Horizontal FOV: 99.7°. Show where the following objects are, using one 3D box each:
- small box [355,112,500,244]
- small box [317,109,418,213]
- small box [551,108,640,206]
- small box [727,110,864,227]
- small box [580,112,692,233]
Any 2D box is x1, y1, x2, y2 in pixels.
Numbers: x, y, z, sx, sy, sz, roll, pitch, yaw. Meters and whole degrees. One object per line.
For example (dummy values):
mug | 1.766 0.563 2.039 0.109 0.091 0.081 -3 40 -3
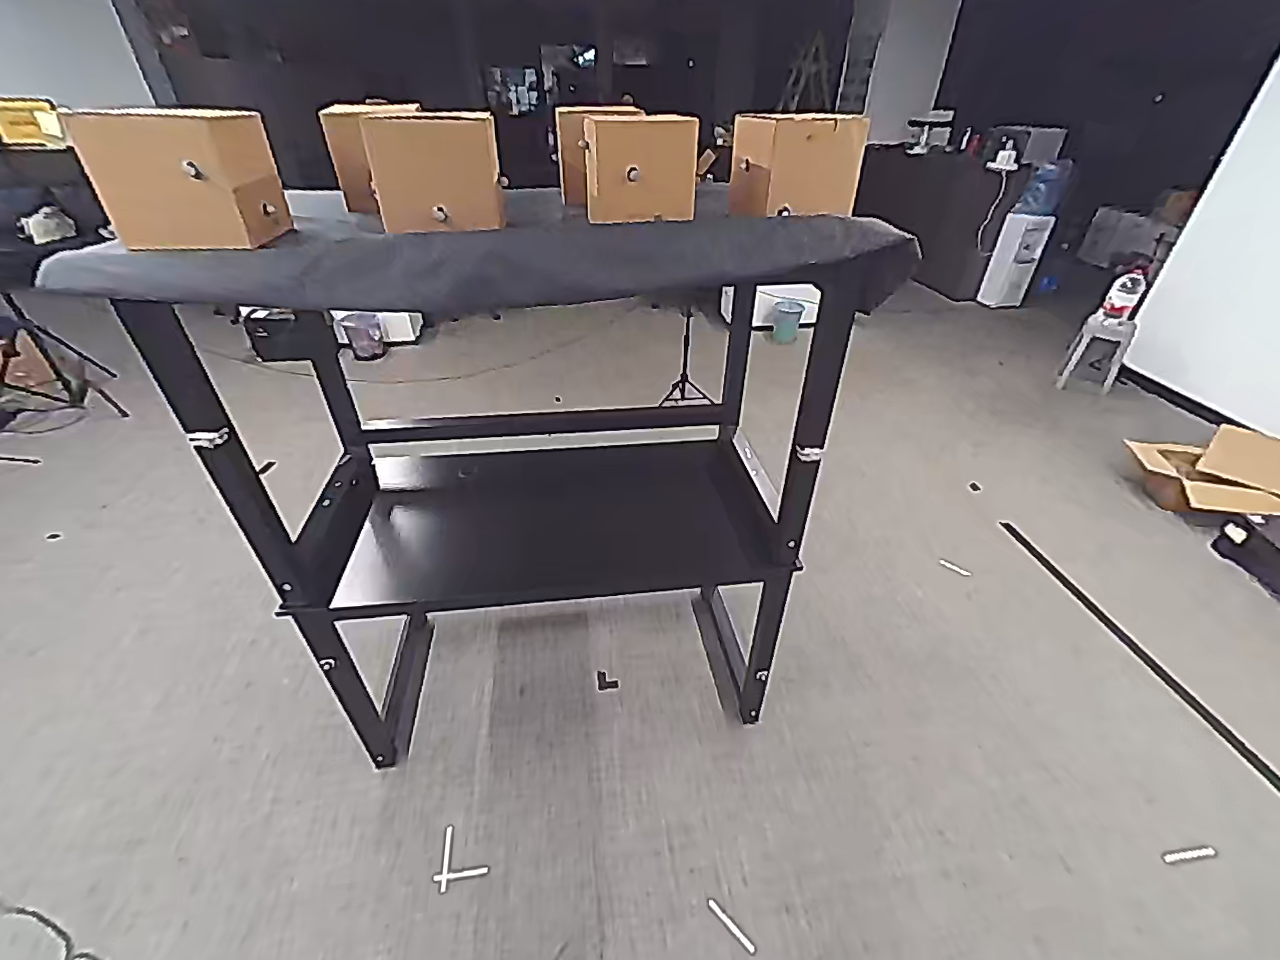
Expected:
small box | -0.325 -0.487 0.871 0.179 0.176 0.168 -4 35 -8
small box | -0.519 -0.644 1.090 0.168 0.176 0.179 -10 37 -11
small box | -0.093 -0.692 1.159 0.179 0.176 0.168 -5 37 -7
small box | 0.263 -0.551 0.960 0.168 0.176 0.179 -8 35 -11
small box | -0.010 -0.530 0.935 0.168 0.176 0.179 -6 35 -8
